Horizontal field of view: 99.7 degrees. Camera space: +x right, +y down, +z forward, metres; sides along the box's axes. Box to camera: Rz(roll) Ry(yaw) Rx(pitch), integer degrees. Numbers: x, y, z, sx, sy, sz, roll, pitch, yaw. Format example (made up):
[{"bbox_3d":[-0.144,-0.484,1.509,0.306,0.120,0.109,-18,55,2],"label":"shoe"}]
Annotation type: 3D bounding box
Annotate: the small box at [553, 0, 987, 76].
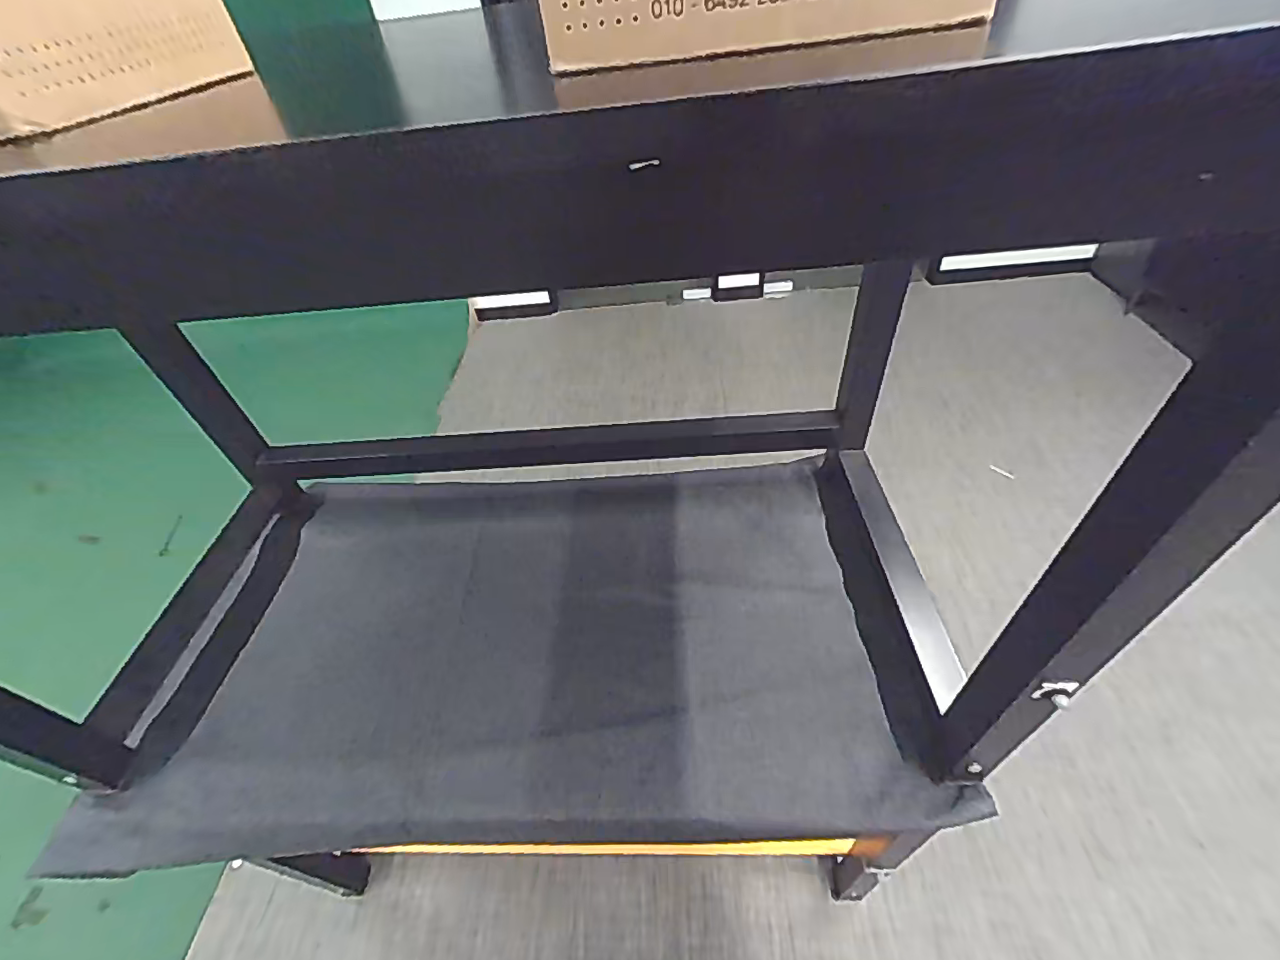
[{"bbox_3d":[0.045,-0.274,0.209,0.168,0.176,0.179,-2,45,6],"label":"small box"}]
